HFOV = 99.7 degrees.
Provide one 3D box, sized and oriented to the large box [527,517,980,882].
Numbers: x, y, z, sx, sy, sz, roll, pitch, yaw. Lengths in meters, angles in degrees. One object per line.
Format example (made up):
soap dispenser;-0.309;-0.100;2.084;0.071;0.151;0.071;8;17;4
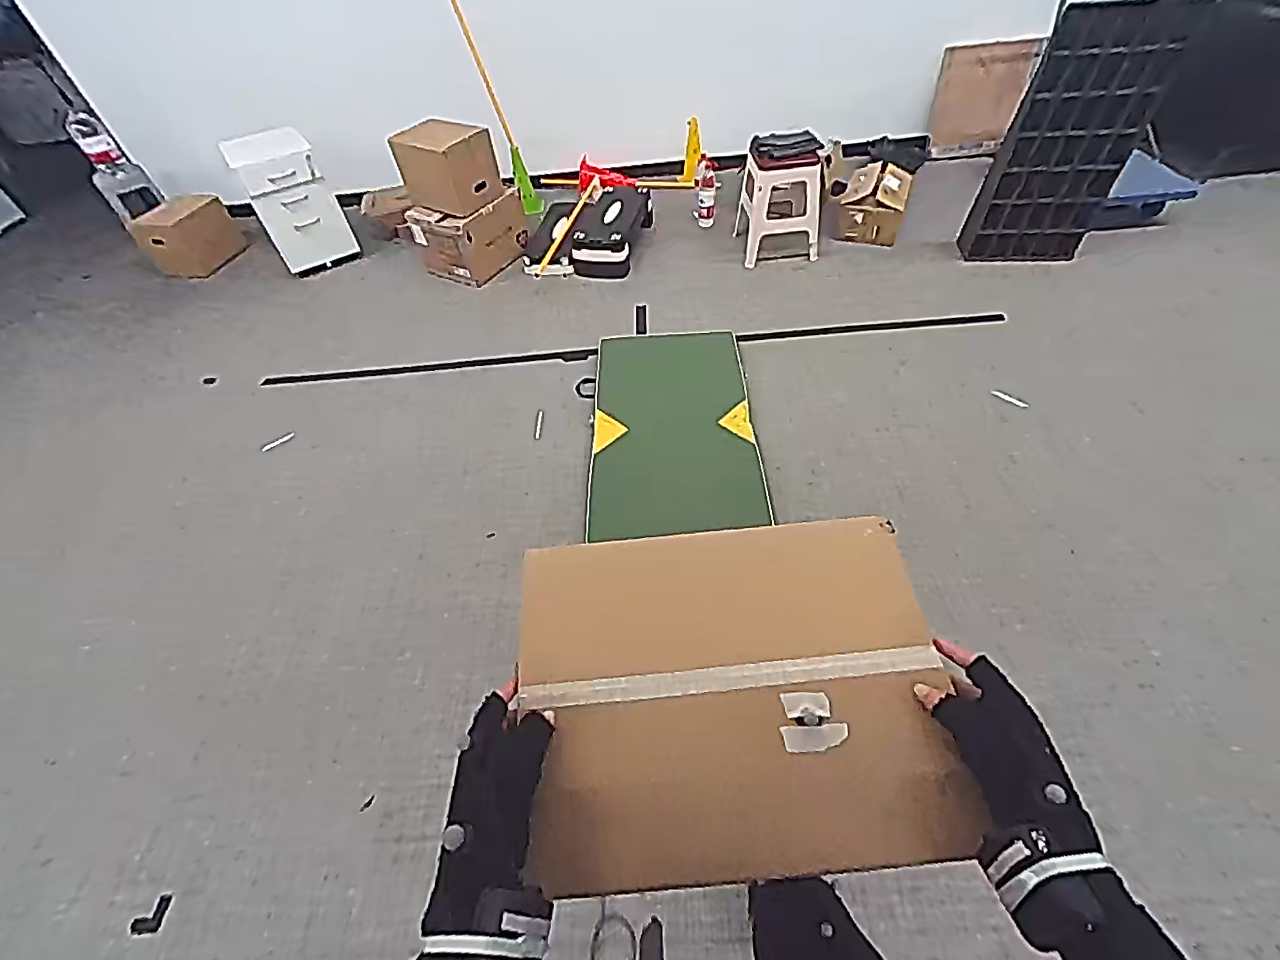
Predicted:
large box;0.090;0.272;0.667;0.408;0.320;0.320;-6;58;-1
